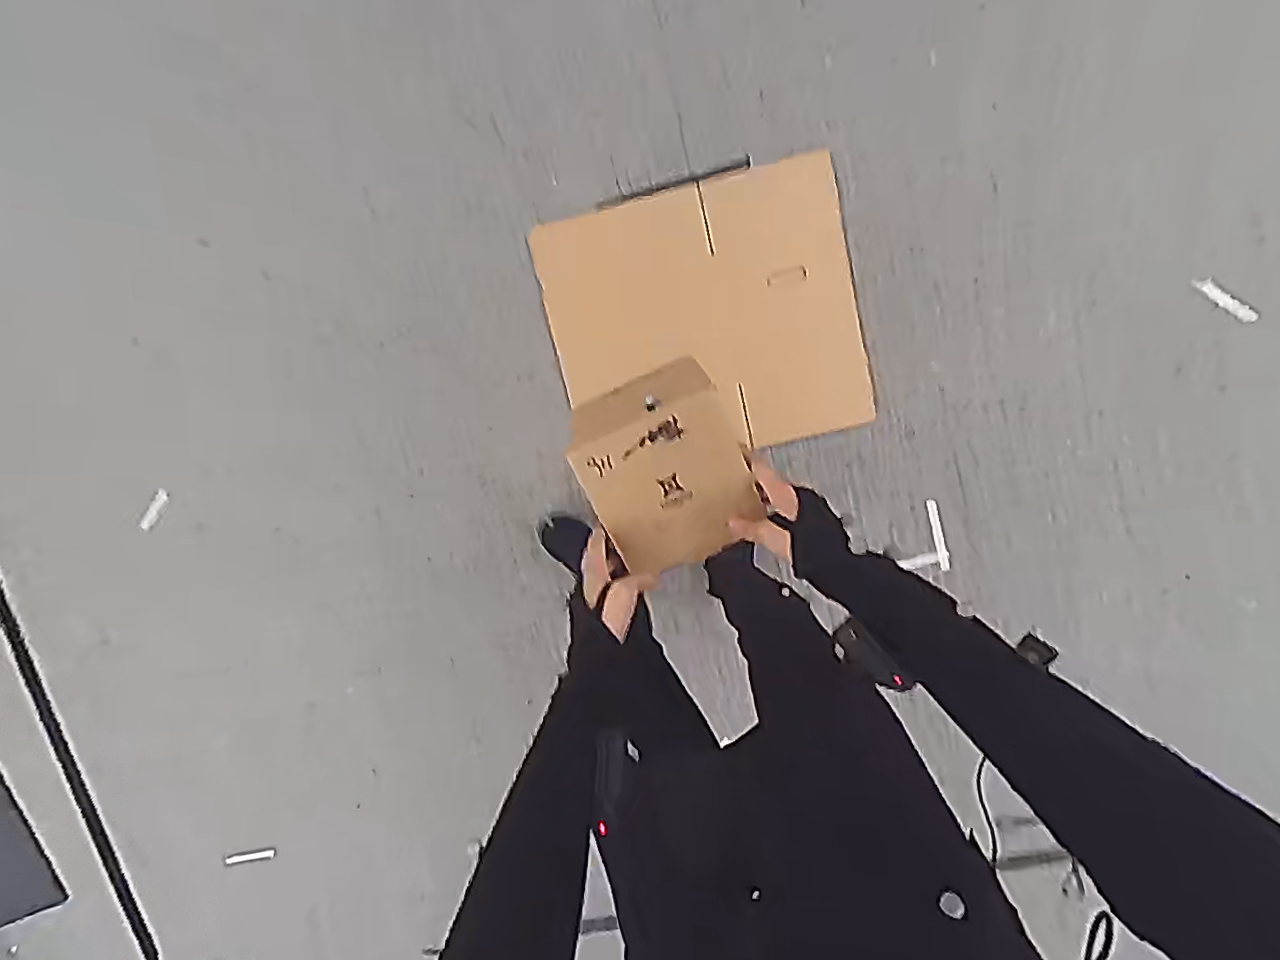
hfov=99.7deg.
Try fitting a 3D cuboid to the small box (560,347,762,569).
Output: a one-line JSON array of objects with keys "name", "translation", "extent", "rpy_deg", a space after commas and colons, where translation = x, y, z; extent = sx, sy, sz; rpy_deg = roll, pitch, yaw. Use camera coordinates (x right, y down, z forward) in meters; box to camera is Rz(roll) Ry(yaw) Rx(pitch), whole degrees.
[{"name": "small box", "translation": [0.023, -0.033, 0.635], "extent": [0.168, 0.176, 0.179], "rpy_deg": [-24, 114, 7]}]
